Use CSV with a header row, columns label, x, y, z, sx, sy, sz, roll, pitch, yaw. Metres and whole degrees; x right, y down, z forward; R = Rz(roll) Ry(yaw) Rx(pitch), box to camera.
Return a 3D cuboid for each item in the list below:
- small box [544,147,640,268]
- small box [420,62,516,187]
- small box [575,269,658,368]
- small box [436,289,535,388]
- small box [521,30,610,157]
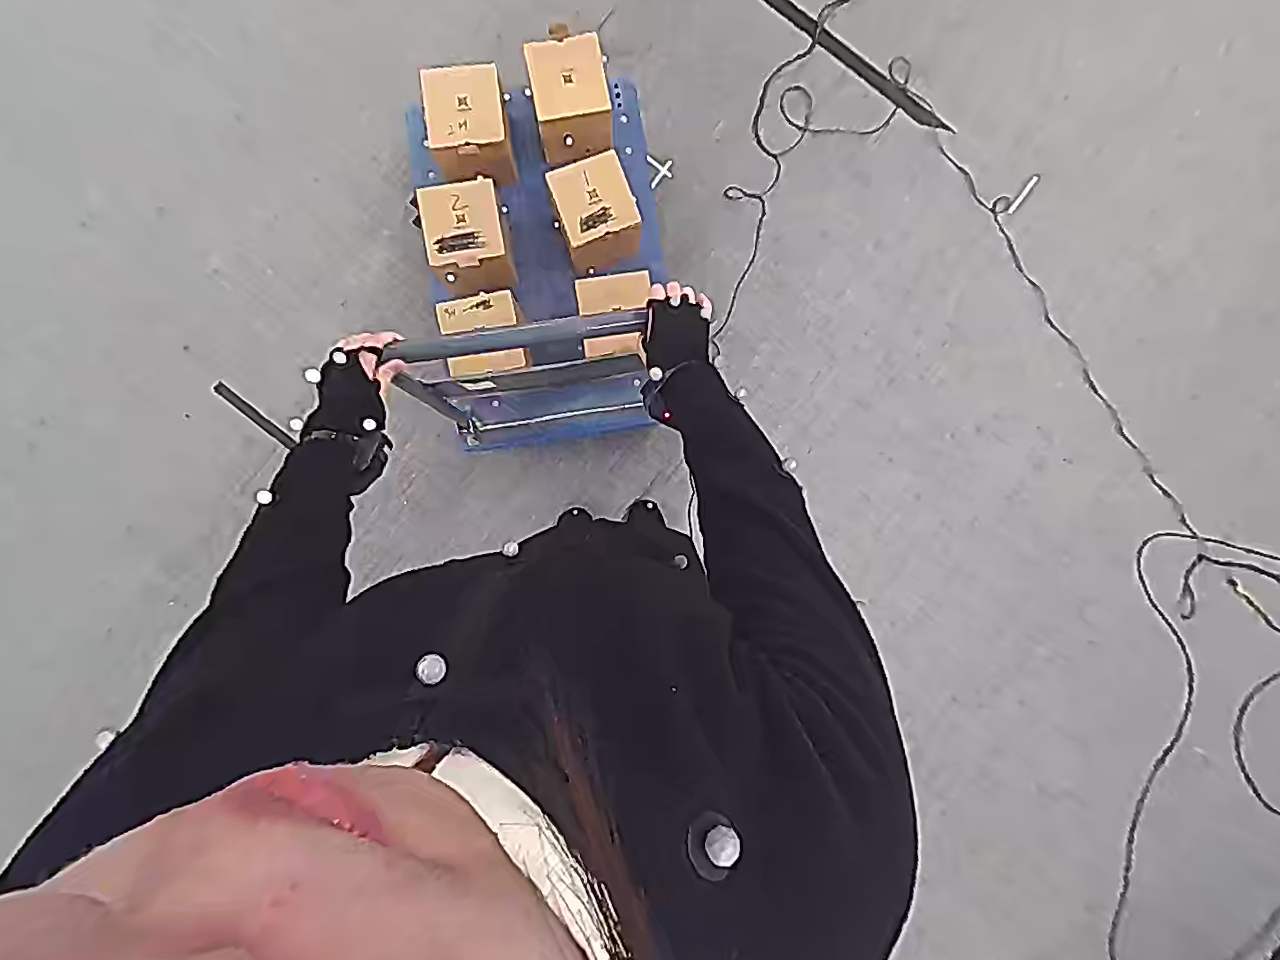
label,x,y,z,sx,sy,sz,roll,pitch,yaw
small box,-0.106,-0.619,1.259,0.168,0.176,0.179,-22,89,-3
small box,-0.389,-0.812,1.246,0.168,0.176,0.179,-7,91,-3
small box,-0.053,-0.367,1.261,0.168,0.176,0.179,-8,89,-3
small box,-0.347,-0.315,1.245,0.168,0.176,0.179,-12,91,-4
small box,-0.166,-0.886,1.260,0.168,0.176,0.179,-12,90,-3
